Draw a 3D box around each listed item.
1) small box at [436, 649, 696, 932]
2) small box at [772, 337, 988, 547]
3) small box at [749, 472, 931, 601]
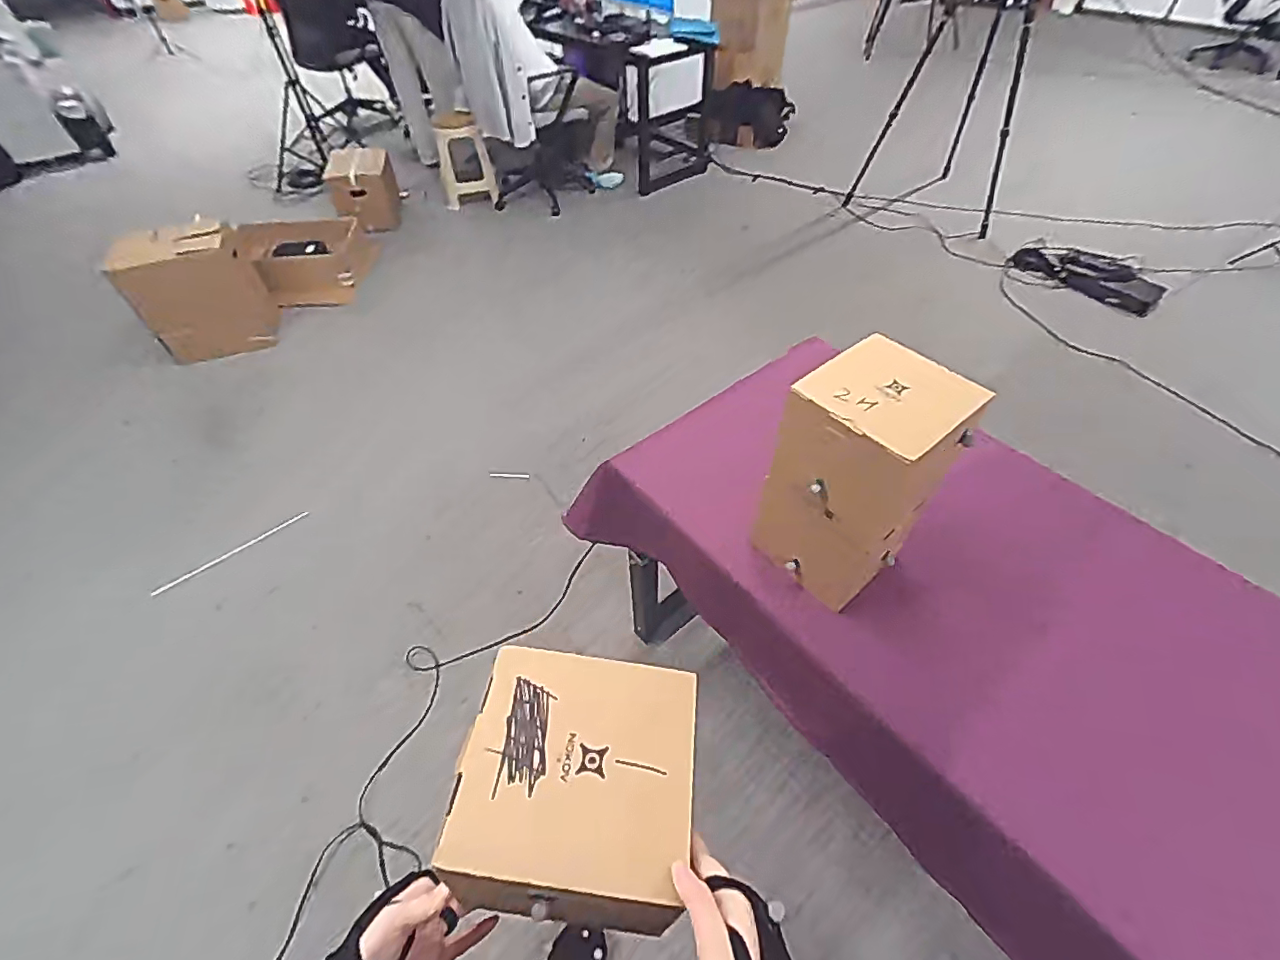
[{"bbox_3d":[-0.053,0.274,0.474,0.179,0.176,0.168,9,45,0],"label":"small box"},{"bbox_3d":[0.295,-0.049,0.702,0.179,0.176,0.168,-32,56,-23],"label":"small box"},{"bbox_3d":[0.292,0.061,0.826,0.168,0.176,0.179,-33,58,-25],"label":"small box"}]
